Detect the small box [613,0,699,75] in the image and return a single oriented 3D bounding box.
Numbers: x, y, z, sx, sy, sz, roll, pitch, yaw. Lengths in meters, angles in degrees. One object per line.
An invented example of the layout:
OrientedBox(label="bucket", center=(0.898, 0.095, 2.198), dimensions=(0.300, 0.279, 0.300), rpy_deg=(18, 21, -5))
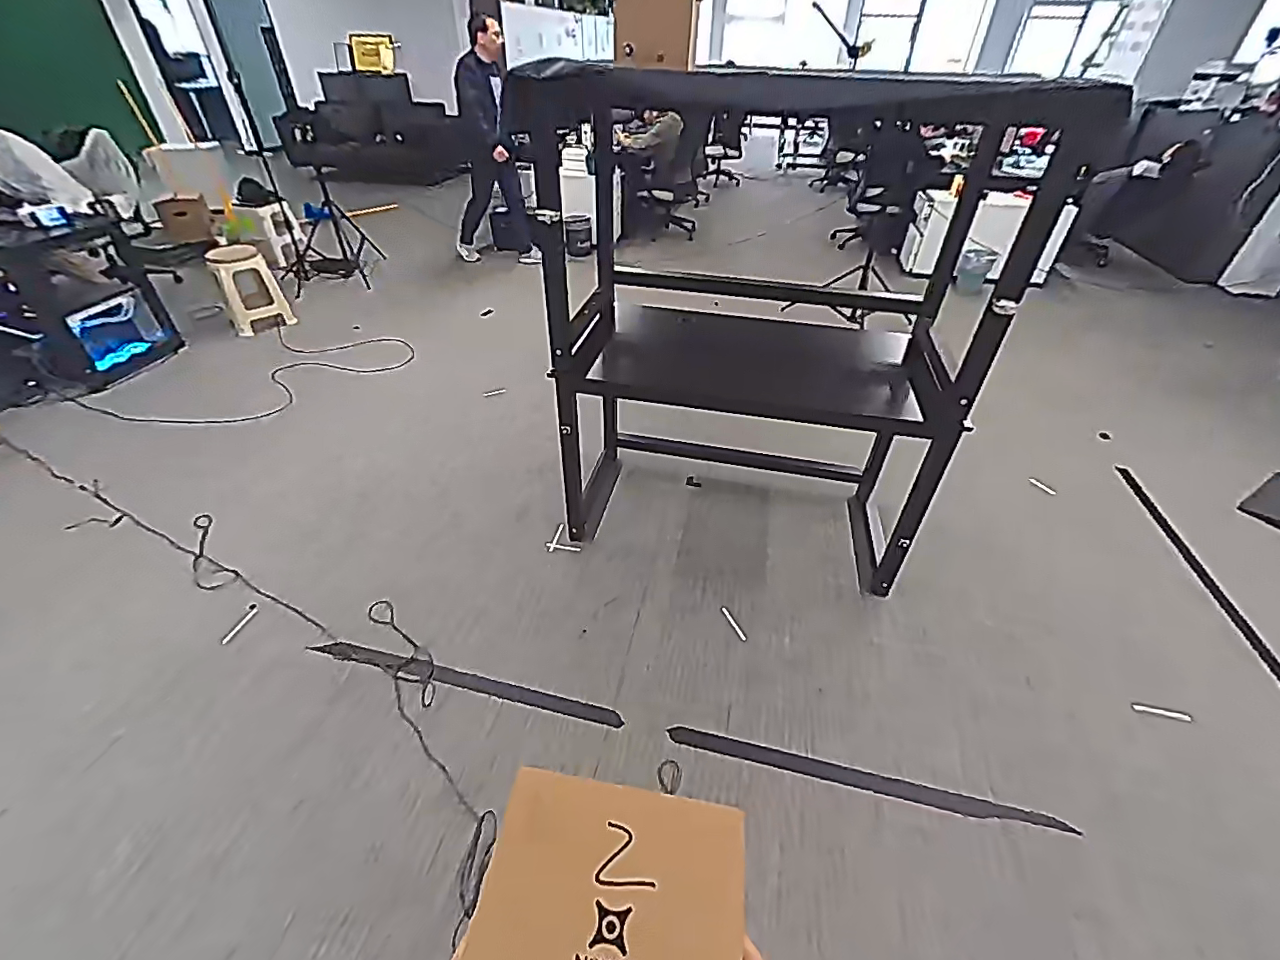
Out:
OrientedBox(label="small box", center=(0.039, -0.992, 1.179), dimensions=(0.168, 0.176, 0.179), rpy_deg=(8, 37, 6))
